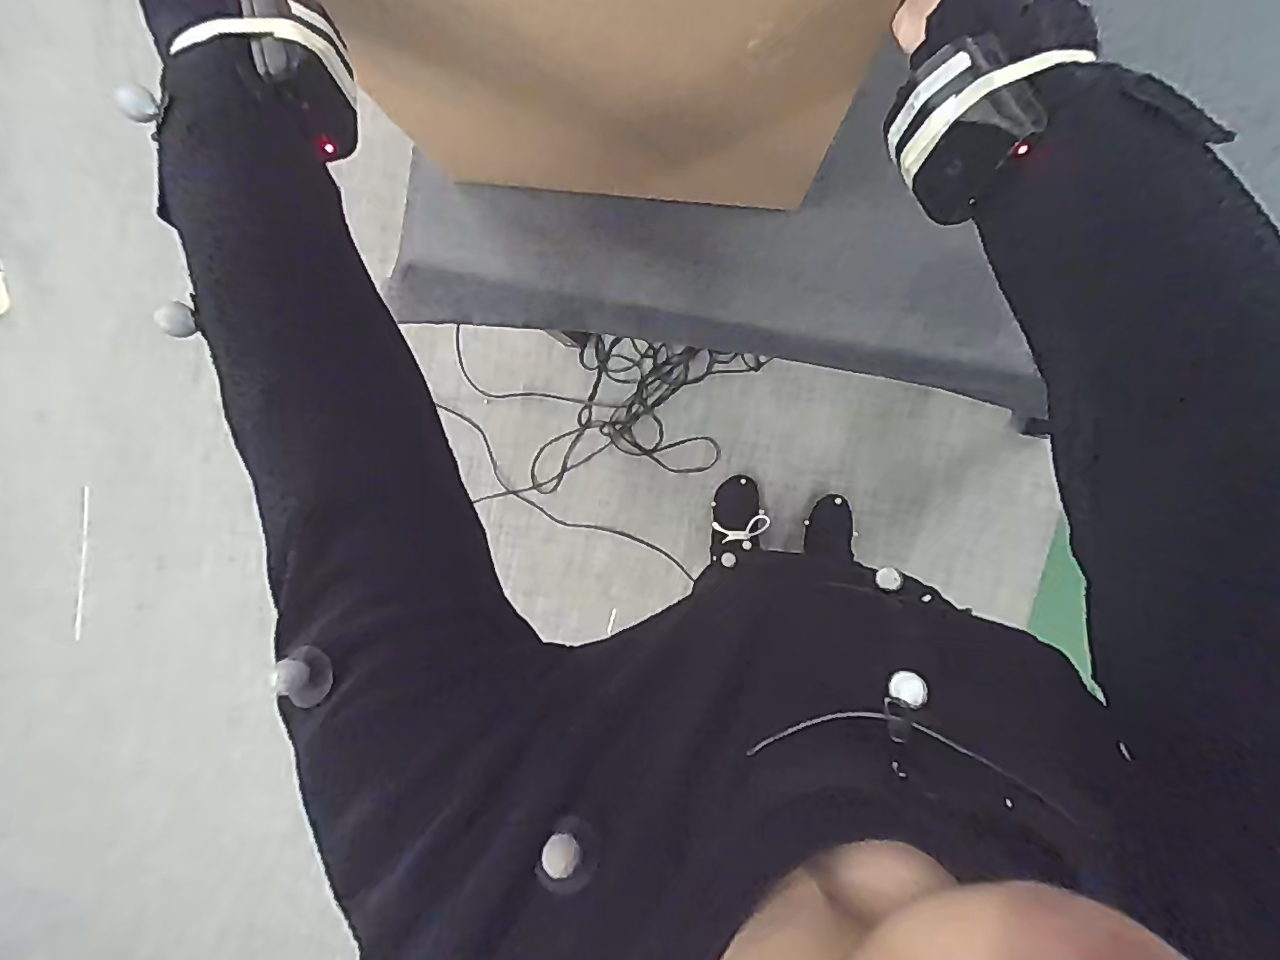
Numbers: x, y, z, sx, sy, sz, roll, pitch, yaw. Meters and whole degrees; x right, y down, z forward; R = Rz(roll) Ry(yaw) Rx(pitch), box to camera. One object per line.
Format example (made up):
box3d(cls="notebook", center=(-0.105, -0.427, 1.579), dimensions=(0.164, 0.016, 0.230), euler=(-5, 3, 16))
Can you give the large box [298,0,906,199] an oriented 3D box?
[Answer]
box3d(cls="large box", center=(-0.017, -0.460, 0.441), dimensions=(0.408, 0.320, 0.320), euler=(6, 96, 3))
